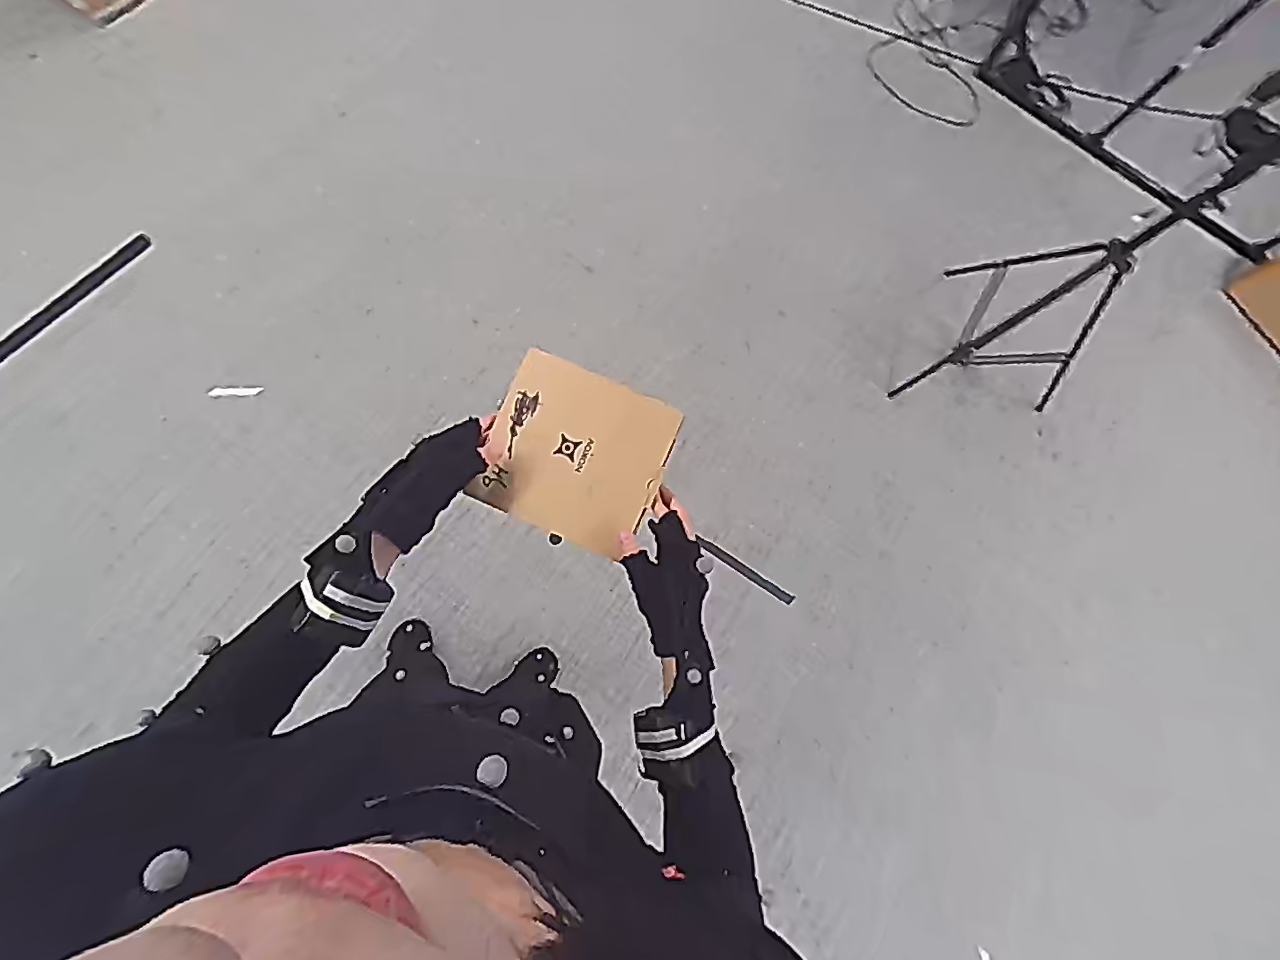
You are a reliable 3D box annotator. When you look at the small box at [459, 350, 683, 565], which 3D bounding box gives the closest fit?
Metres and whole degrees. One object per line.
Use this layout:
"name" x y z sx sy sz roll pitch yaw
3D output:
"small box" -0.069 -0.018 0.613 0.179 0.176 0.168 23 84 1
